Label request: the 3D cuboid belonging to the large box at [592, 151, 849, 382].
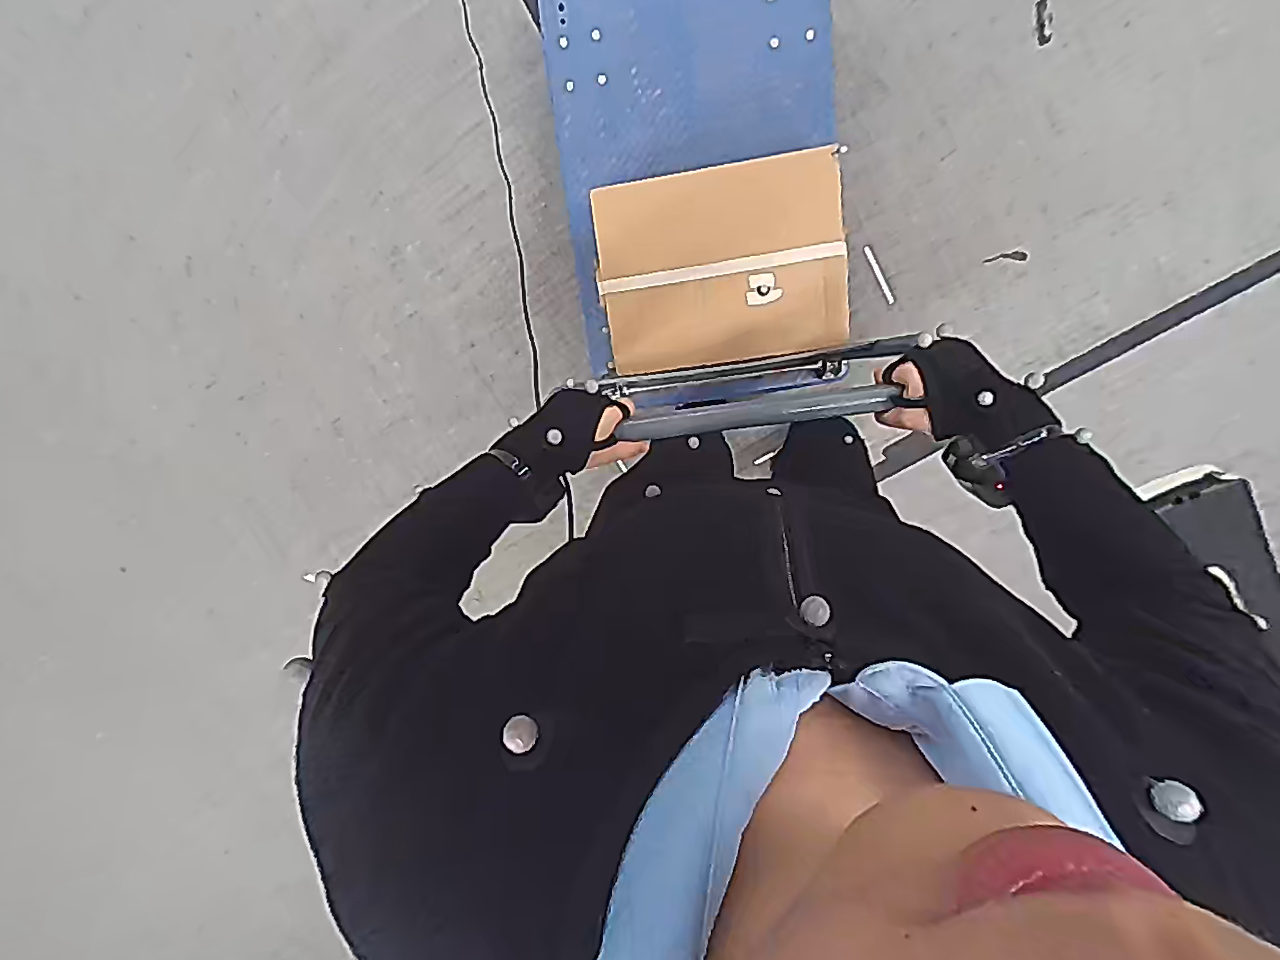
[{"bbox_3d":[0.149,-0.380,1.052,0.408,0.320,0.320,-7,103,7],"label":"large box"}]
